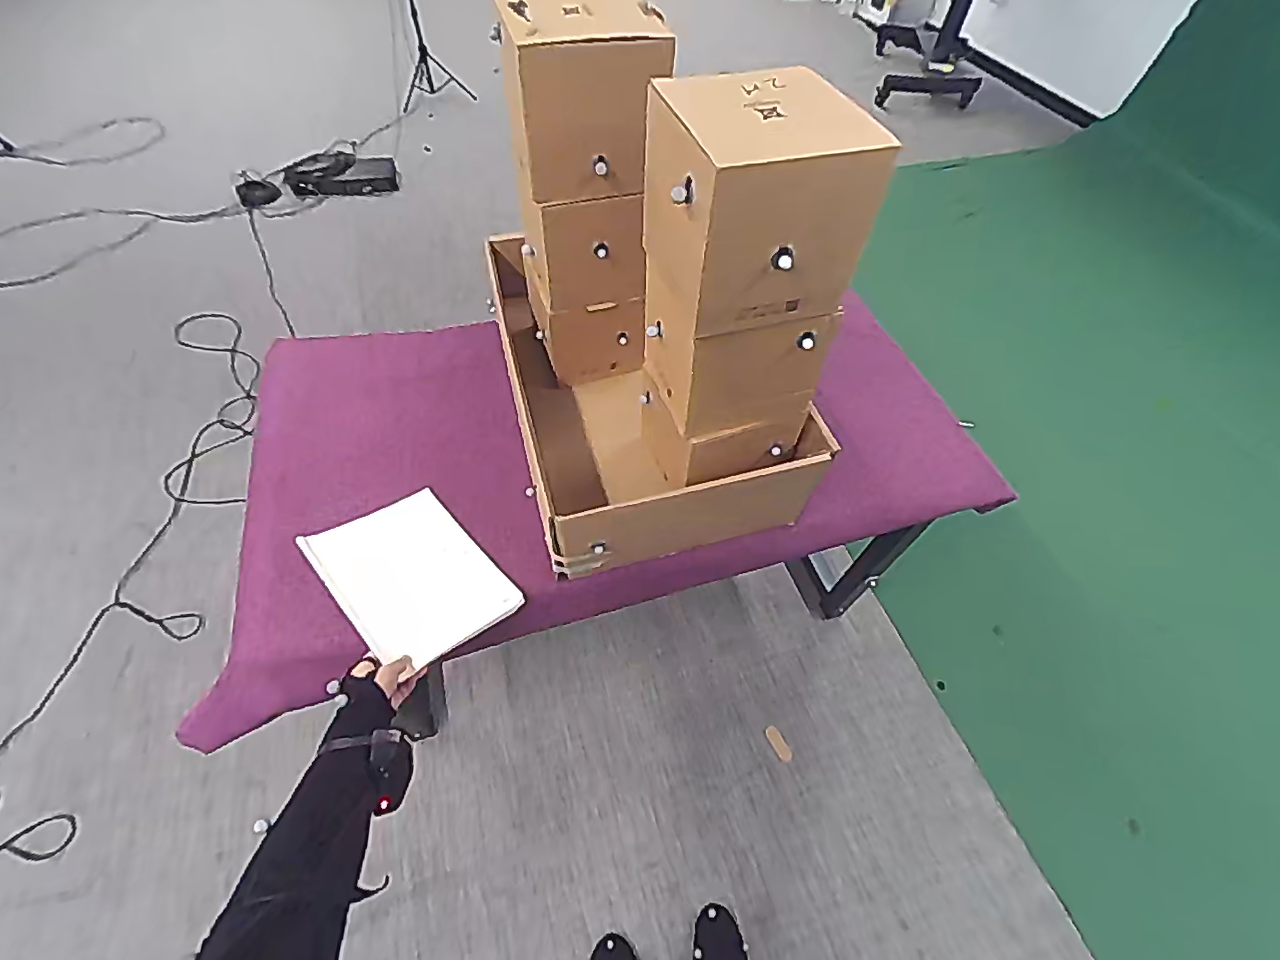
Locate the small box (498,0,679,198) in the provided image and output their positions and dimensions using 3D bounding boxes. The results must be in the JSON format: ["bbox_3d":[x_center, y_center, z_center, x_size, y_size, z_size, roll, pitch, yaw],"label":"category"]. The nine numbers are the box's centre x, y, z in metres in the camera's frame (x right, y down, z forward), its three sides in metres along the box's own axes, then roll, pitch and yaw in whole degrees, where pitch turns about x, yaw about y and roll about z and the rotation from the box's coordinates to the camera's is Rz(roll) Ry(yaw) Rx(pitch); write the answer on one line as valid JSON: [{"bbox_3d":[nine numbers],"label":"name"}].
[{"bbox_3d":[-0.069,-0.477,0.671,0.179,0.176,0.168,-13,58,-13],"label":"small box"}]

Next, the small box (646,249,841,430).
[{"bbox_3d":[0.112,-0.182,0.673,0.179,0.176,0.168,-13,56,-11],"label":"small box"}]

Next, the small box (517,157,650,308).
[{"bbox_3d":[-0.075,-0.384,0.806,0.179,0.176,0.168,-15,59,-13],"label":"small box"}]

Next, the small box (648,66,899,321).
[{"bbox_3d":[0.111,-0.276,0.538,0.168,0.176,0.179,-13,55,-12],"label":"small box"}]
